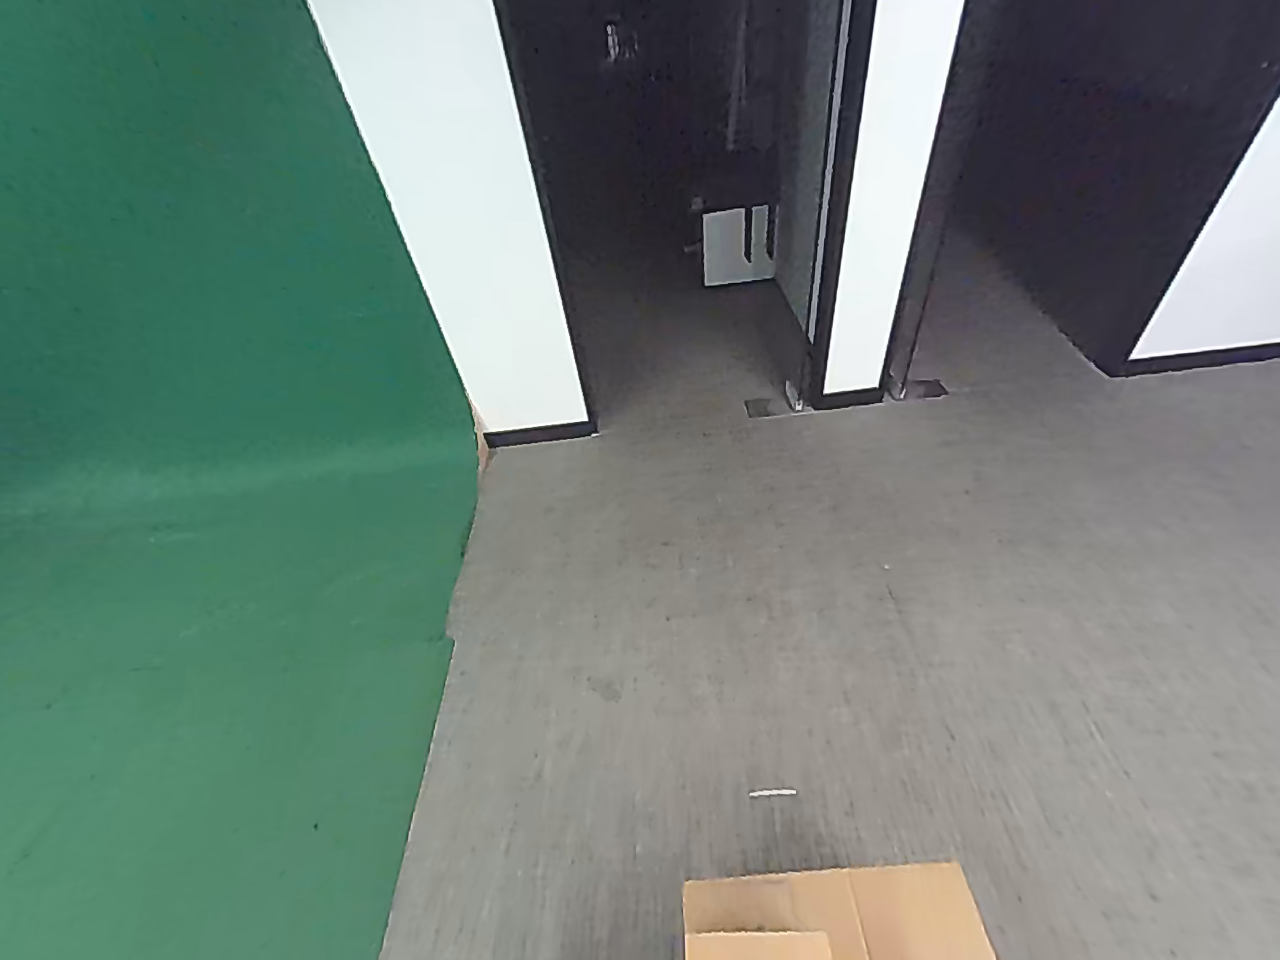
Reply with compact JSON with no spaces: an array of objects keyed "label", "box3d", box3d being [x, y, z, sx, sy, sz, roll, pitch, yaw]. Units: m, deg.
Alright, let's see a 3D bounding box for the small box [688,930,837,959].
[{"label":"small box","box3d":[0.144,0.634,0.615,0.168,0.176,0.179,-3,45,3]}]
